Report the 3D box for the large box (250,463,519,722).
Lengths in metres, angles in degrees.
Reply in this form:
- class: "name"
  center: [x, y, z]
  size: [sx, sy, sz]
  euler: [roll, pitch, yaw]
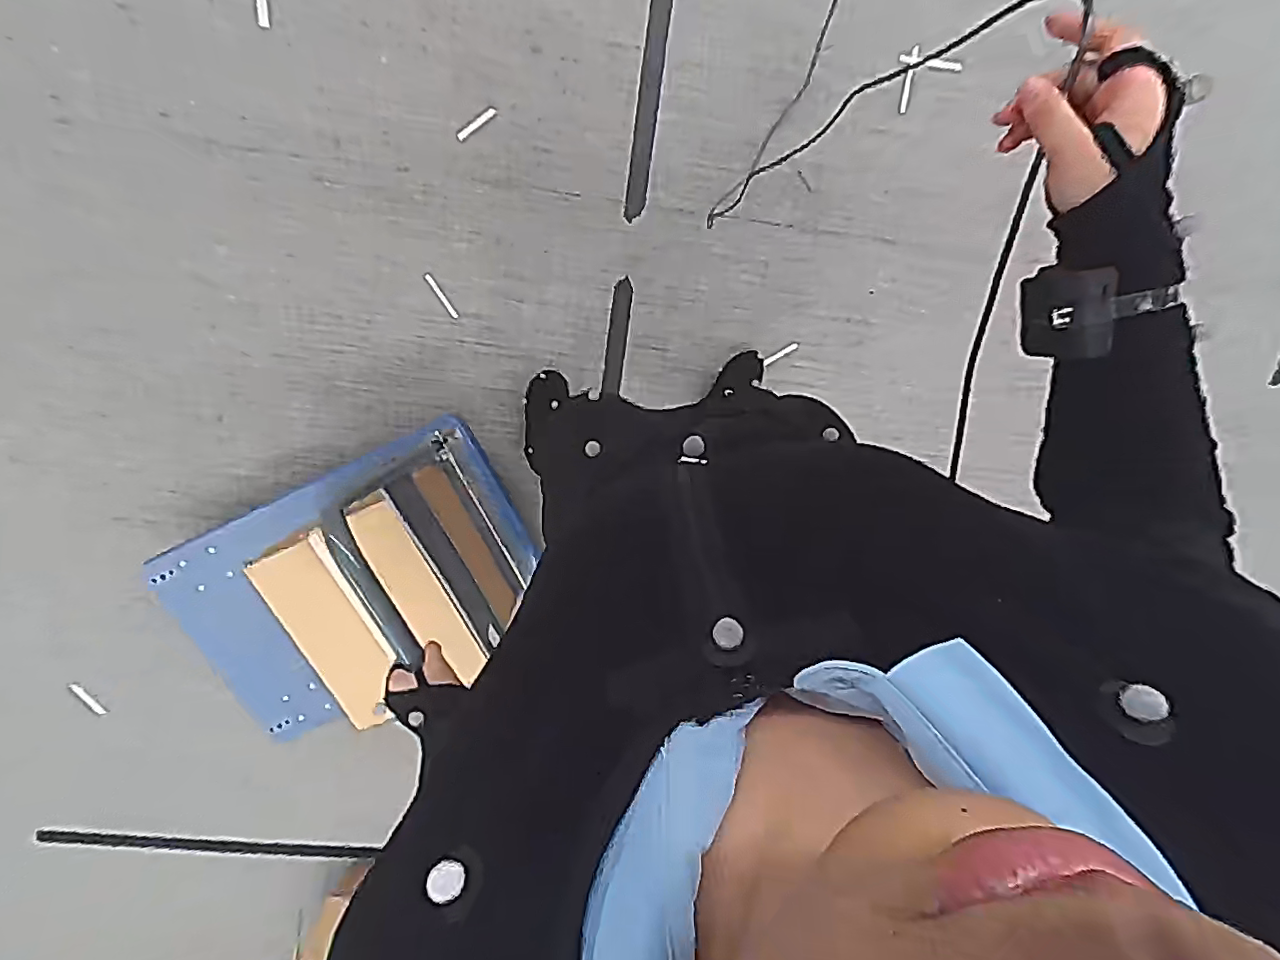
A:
- class: "large box"
  center: [-0.517, 0.228, 1.194]
  size: [0.320, 0.320, 0.408]
  euler: [-25, 104, 3]
